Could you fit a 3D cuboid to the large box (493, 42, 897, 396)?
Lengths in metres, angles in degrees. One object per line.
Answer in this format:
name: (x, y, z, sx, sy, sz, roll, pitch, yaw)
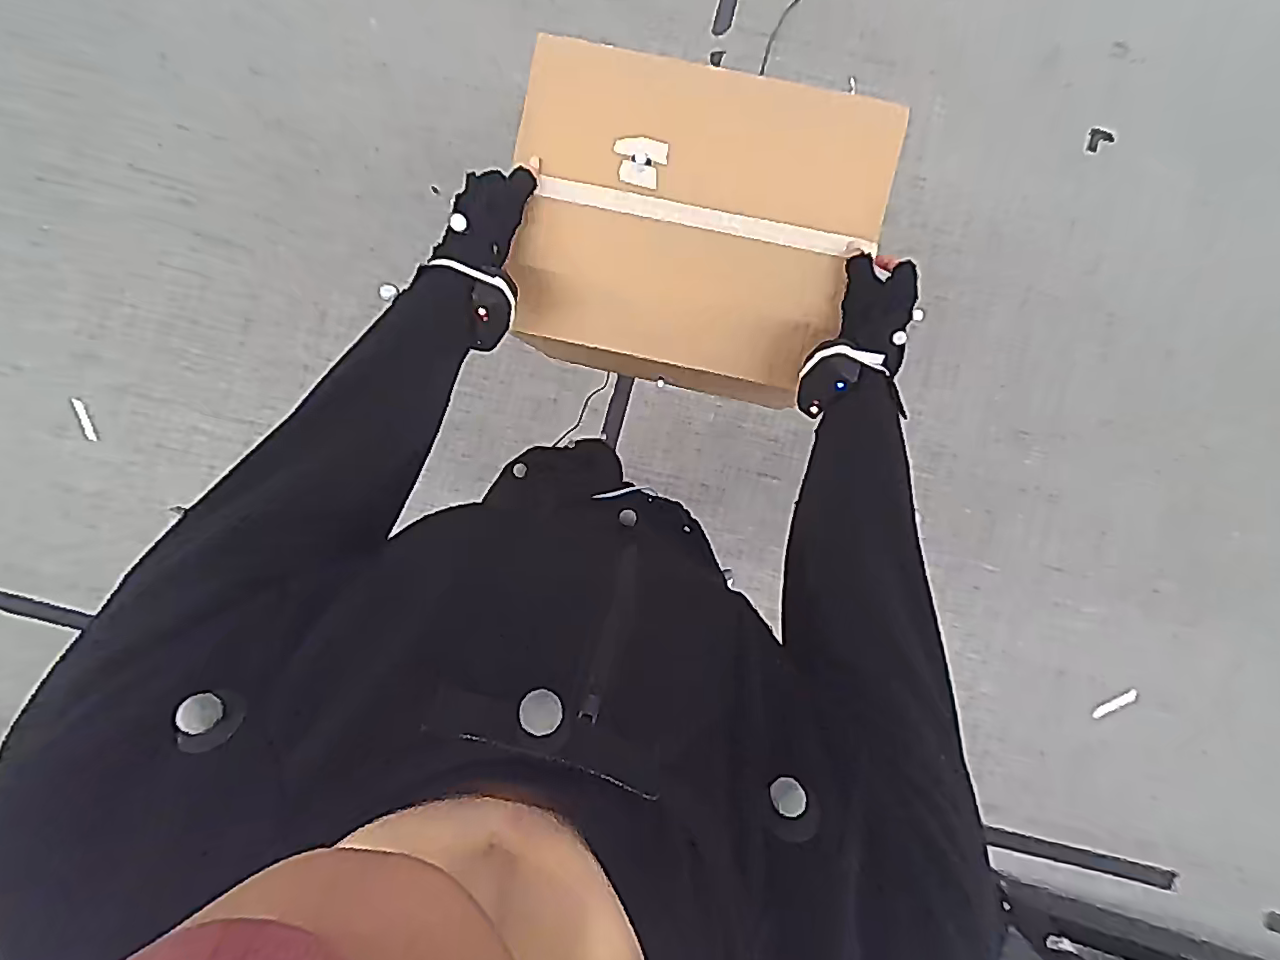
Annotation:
large box: (0.063, -0.307, 0.746, 0.408, 0.320, 0.320, 13, 95, 2)
